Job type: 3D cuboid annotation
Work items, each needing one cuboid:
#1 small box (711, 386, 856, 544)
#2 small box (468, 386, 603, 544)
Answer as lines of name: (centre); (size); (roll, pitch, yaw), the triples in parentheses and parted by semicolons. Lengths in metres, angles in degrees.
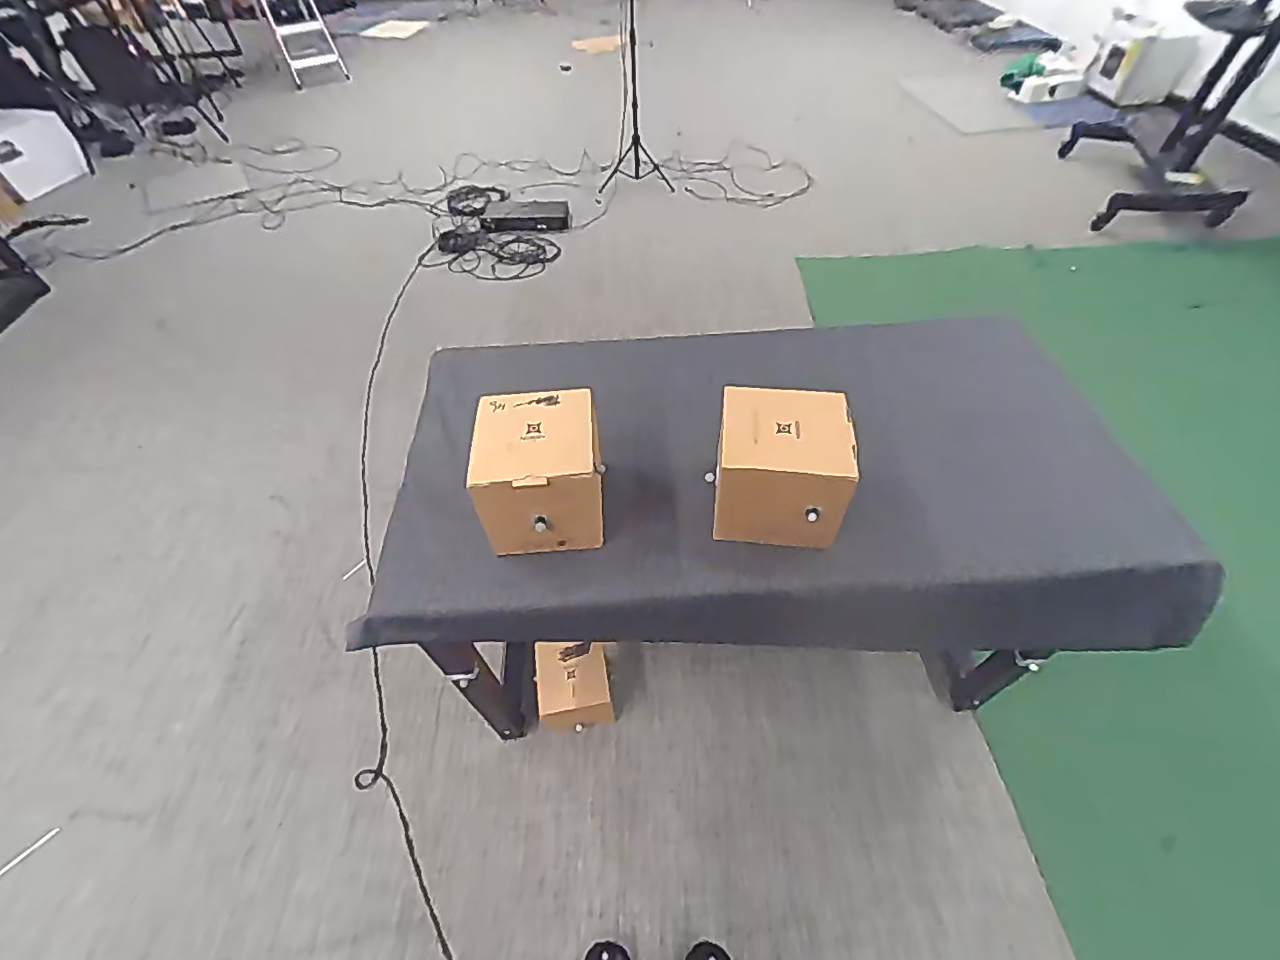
small box: (0.202, -0.019, 0.807); (0.179, 0.176, 0.168); (4, 49, 6)
small box: (-0.145, -0.016, 0.810); (0.168, 0.176, 0.179); (-4, 50, -2)
